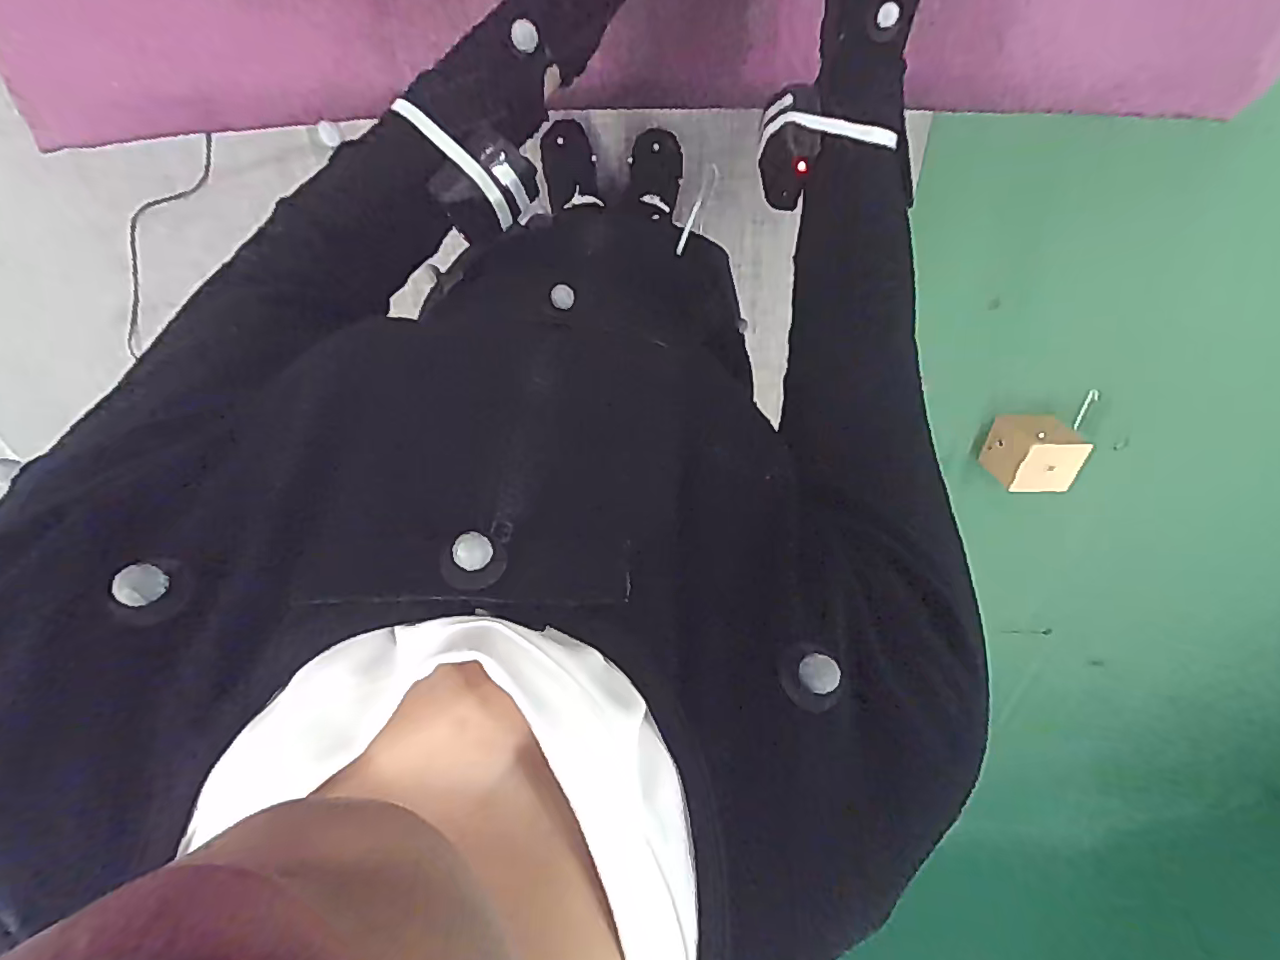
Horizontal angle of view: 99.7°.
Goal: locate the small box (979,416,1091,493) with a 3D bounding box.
[{"bbox_3d":[1.150,-0.077,1.590,0.179,0.176,0.168,0,126,-1],"label":"small box"}]
